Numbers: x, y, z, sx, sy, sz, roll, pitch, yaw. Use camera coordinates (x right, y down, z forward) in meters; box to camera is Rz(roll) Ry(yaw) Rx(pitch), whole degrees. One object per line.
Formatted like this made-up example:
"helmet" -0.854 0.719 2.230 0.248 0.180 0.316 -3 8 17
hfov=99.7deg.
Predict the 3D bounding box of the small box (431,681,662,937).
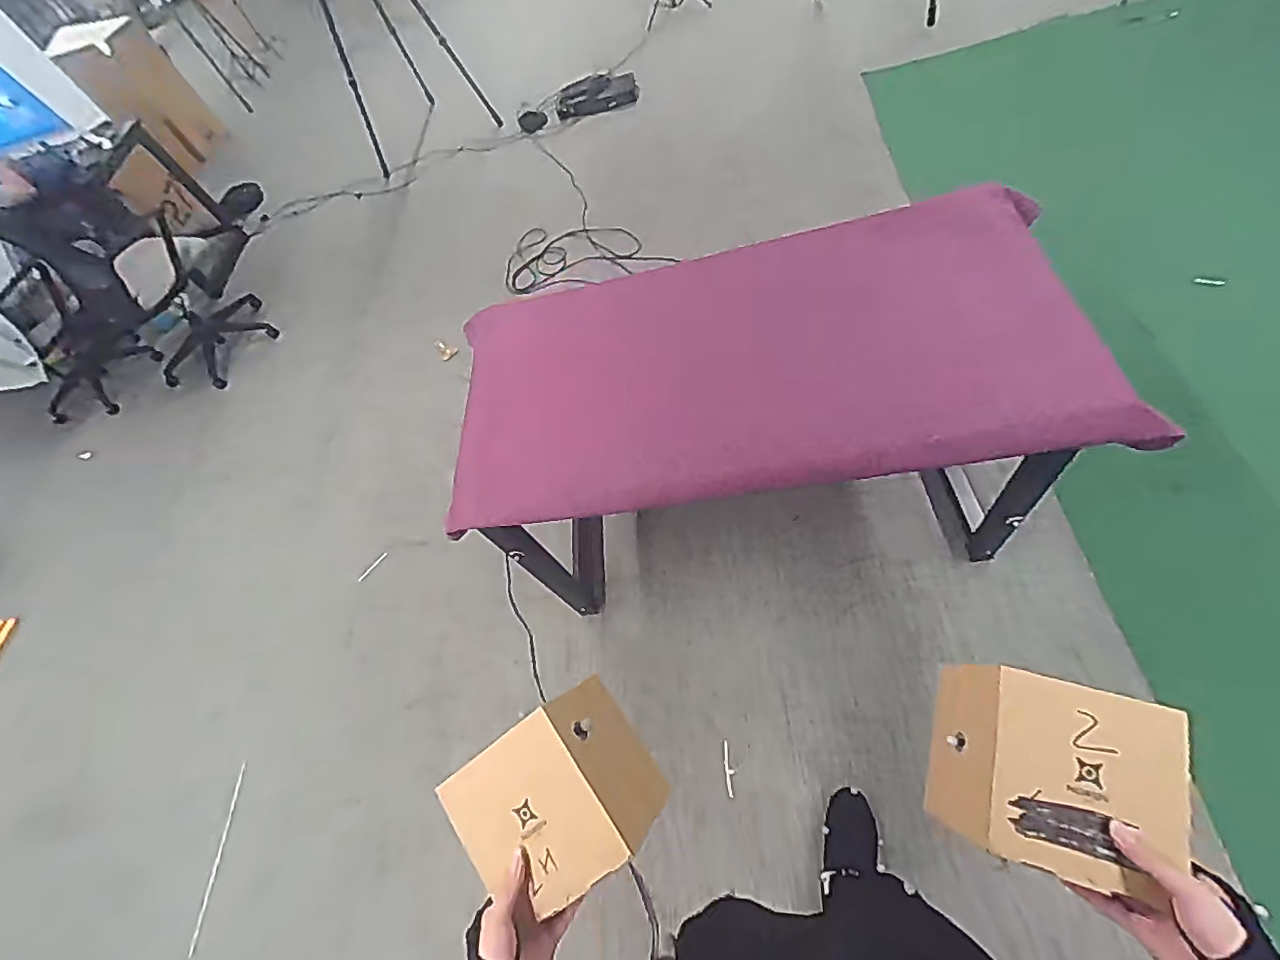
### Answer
"small box" -0.099 0.360 0.636 0.168 0.176 0.179 -39 75 8
